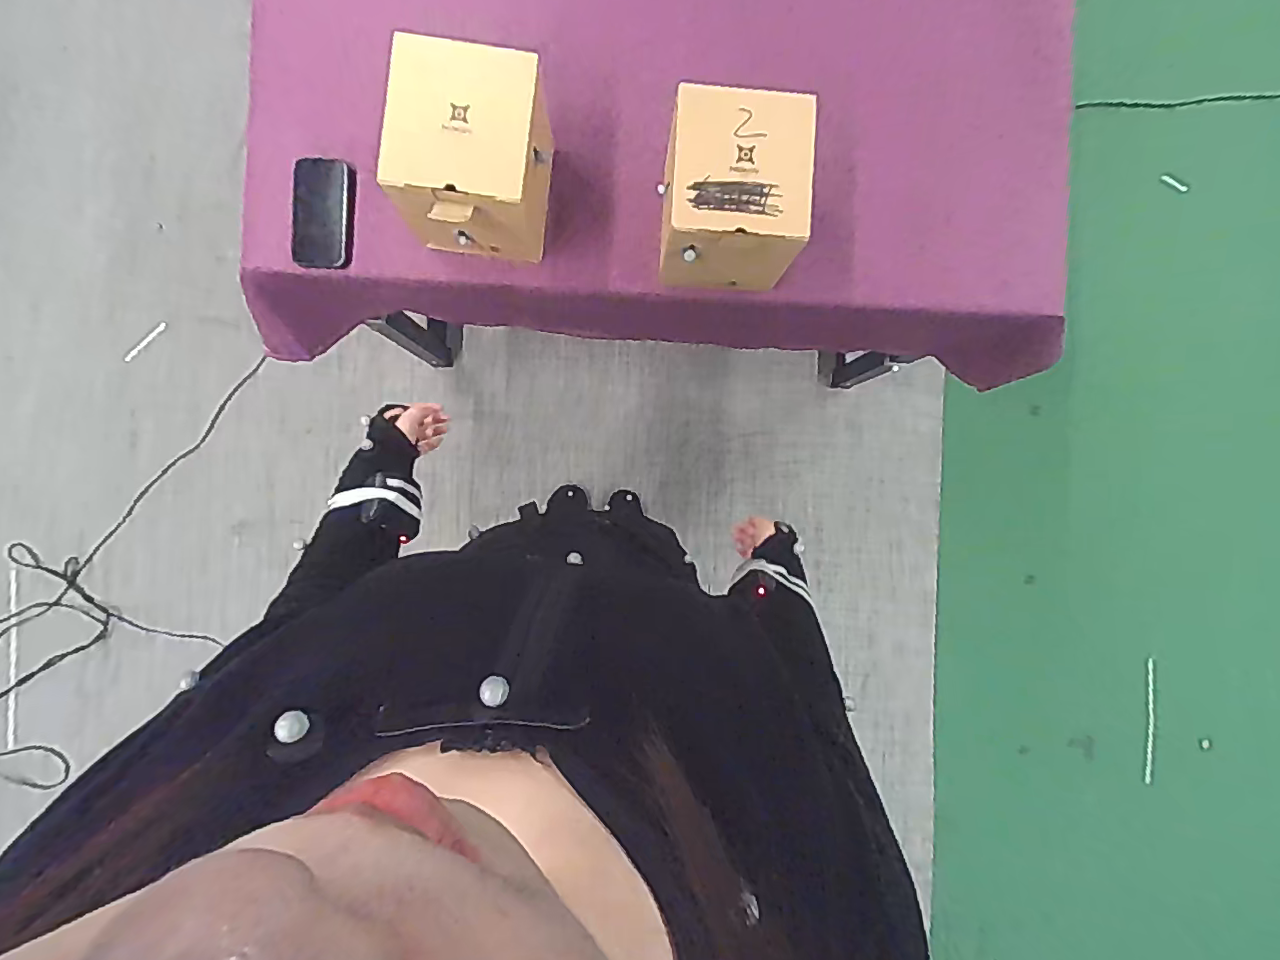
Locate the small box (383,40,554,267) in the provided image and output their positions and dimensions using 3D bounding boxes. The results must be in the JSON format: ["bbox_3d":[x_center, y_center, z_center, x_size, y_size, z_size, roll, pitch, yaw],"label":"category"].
[{"bbox_3d":[-0.206,-0.404,0.699,0.168,0.176,0.179,7,89,-4],"label":"small box"}]
